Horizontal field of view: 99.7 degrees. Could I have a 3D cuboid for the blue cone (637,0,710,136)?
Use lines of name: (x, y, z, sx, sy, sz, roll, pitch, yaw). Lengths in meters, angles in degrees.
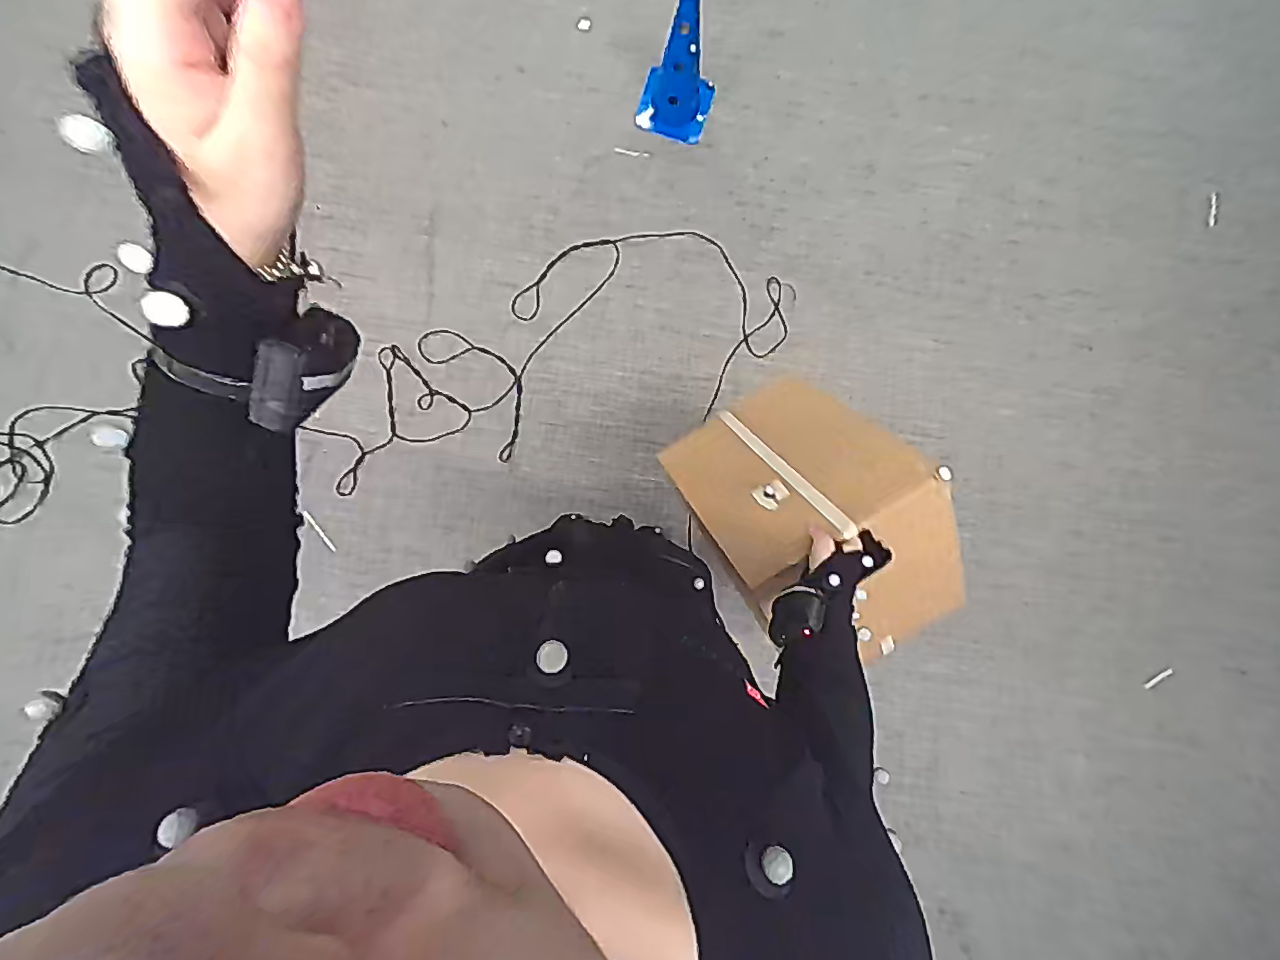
blue cone: (0.107, -1.124, 1.424, 0.193, 0.380, 0.192, 18, 86, -2)
